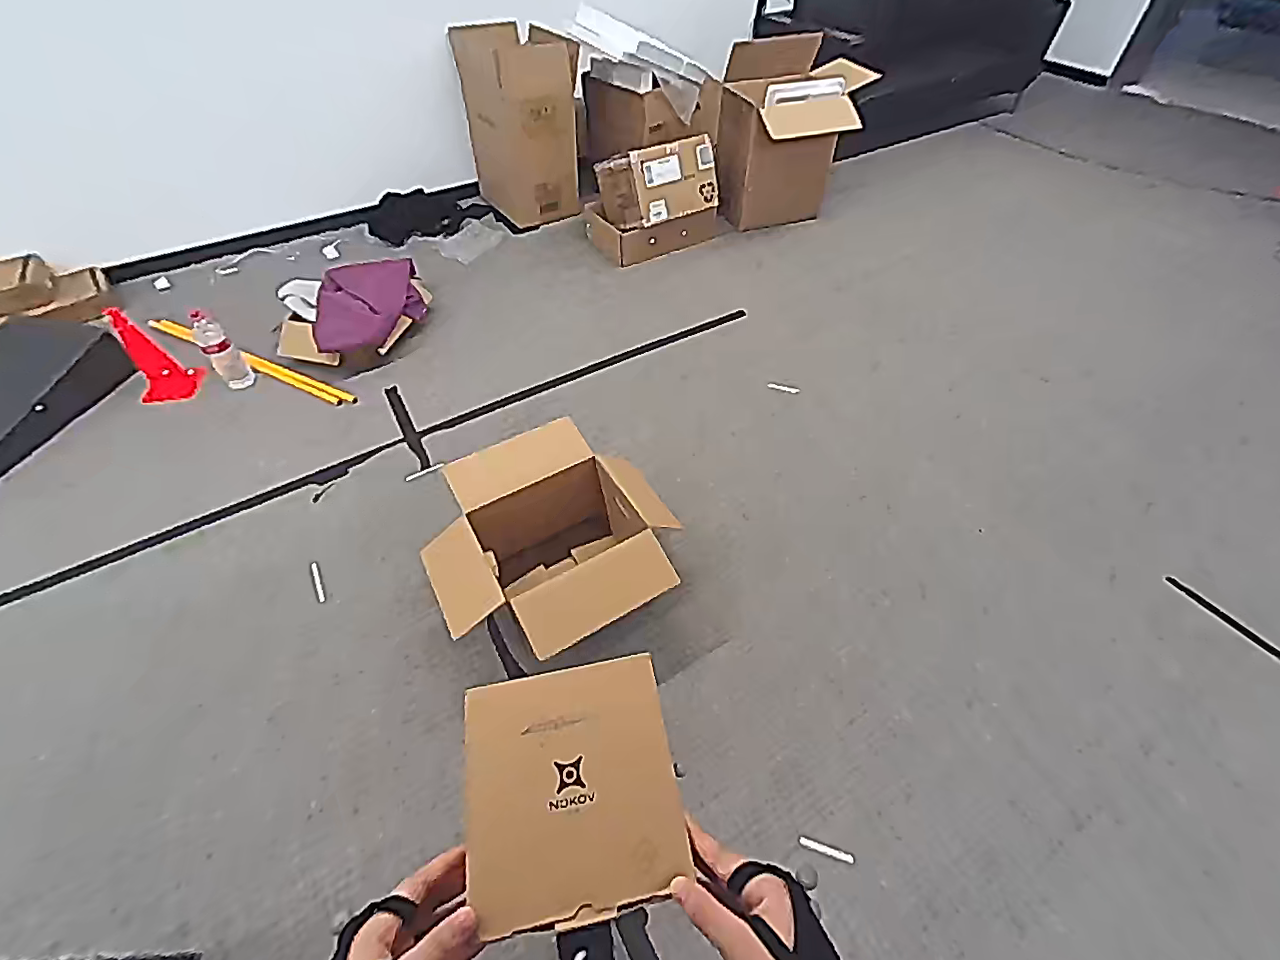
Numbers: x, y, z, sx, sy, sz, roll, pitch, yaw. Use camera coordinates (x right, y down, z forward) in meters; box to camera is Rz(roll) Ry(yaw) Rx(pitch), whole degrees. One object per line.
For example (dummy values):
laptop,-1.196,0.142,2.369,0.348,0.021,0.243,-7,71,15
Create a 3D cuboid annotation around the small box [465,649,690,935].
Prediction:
small box,-0.055,0.280,0.496,0.168,0.176,0.179,-10,53,-6
